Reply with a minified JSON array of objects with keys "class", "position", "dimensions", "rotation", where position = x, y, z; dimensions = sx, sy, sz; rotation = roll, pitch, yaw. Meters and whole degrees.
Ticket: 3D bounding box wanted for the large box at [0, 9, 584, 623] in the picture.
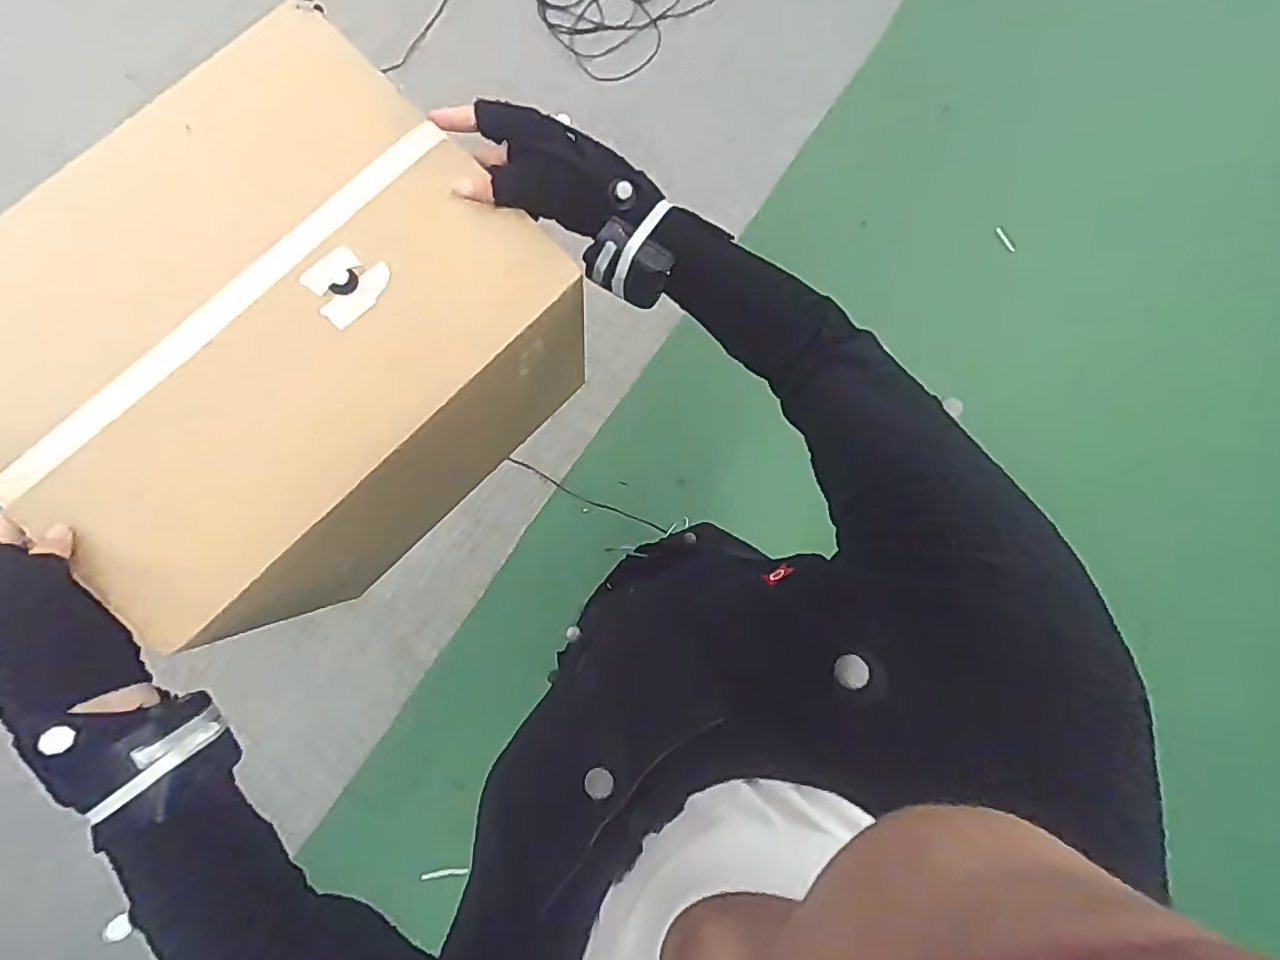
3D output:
[{"class":"large box","position":[-0.303,-0.123,0.559],"dimensions":[0.320,0.320,0.408],"rotation":[45,82,0]}]
